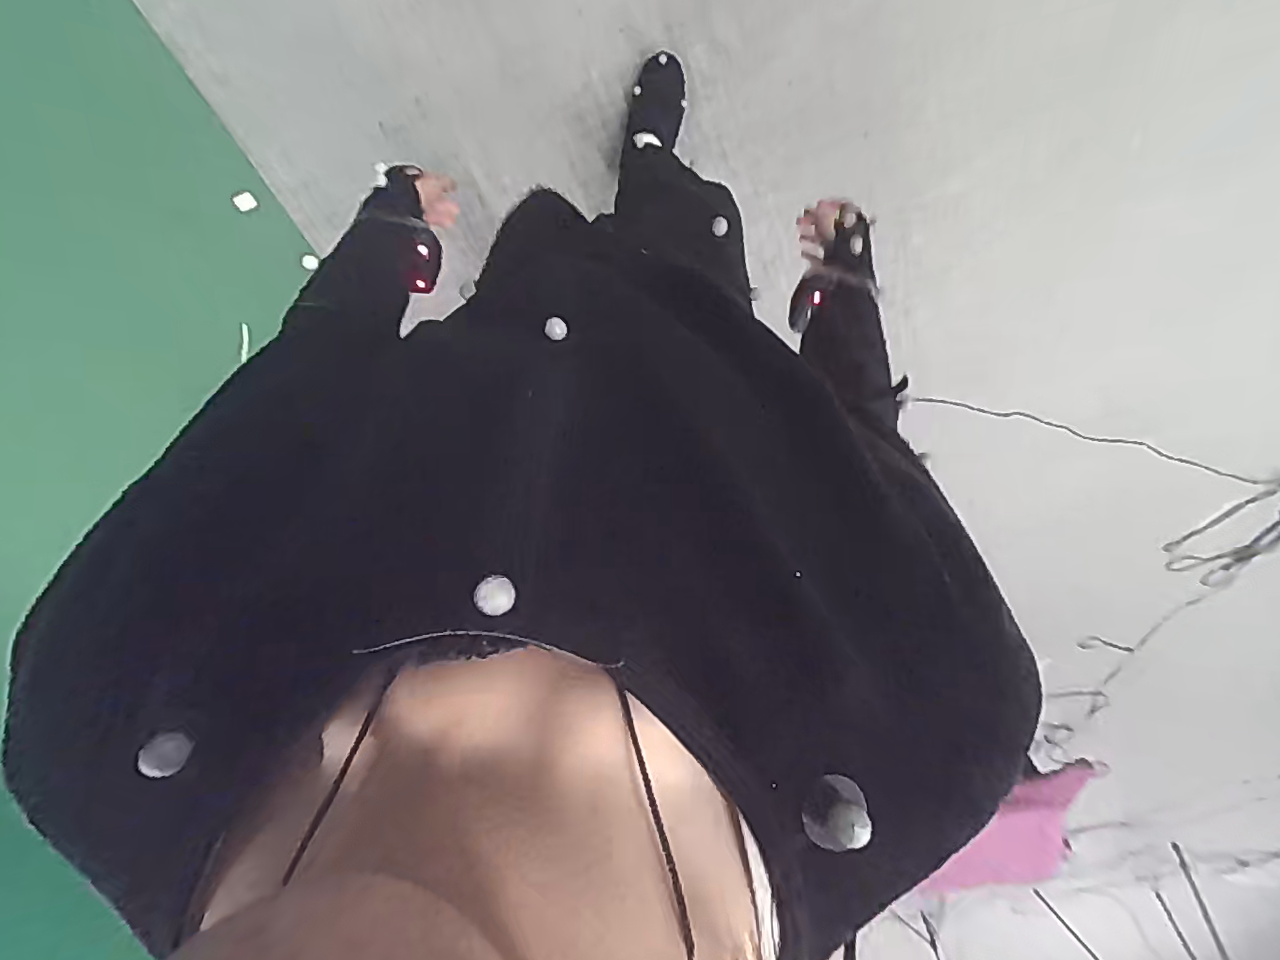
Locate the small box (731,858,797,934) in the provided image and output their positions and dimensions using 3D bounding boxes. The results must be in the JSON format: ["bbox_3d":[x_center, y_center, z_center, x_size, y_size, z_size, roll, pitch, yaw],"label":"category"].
[{"bbox_3d":[0.393,1.343,1.733,0.179,0.176,0.168,-11,127,5],"label":"small box"}]
